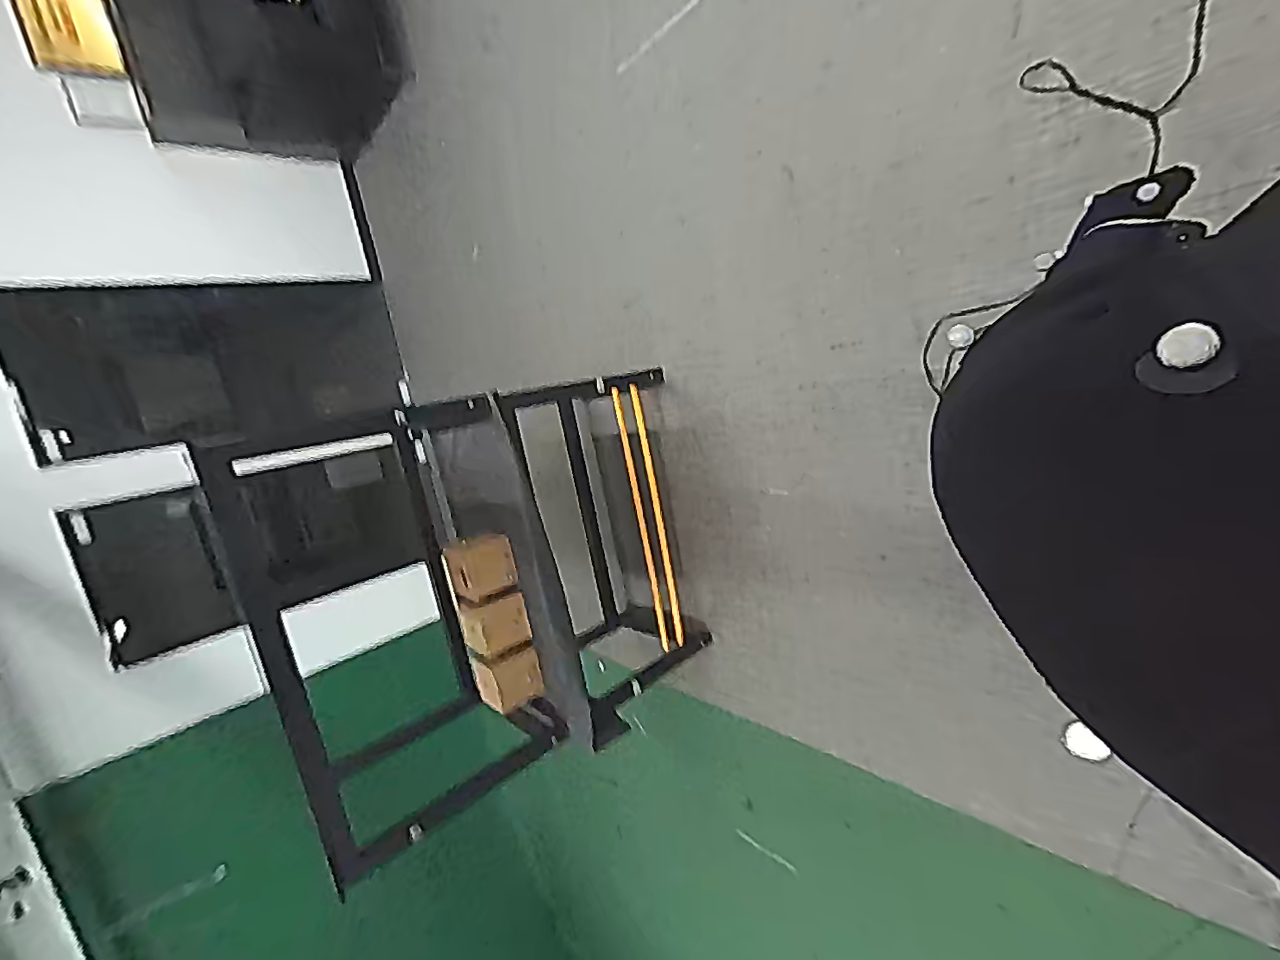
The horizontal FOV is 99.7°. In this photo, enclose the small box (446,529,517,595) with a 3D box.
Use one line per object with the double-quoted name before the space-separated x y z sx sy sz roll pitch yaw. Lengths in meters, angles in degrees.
"small box" -0.532 0.272 1.841 0.179 0.176 0.168 2 106 50
